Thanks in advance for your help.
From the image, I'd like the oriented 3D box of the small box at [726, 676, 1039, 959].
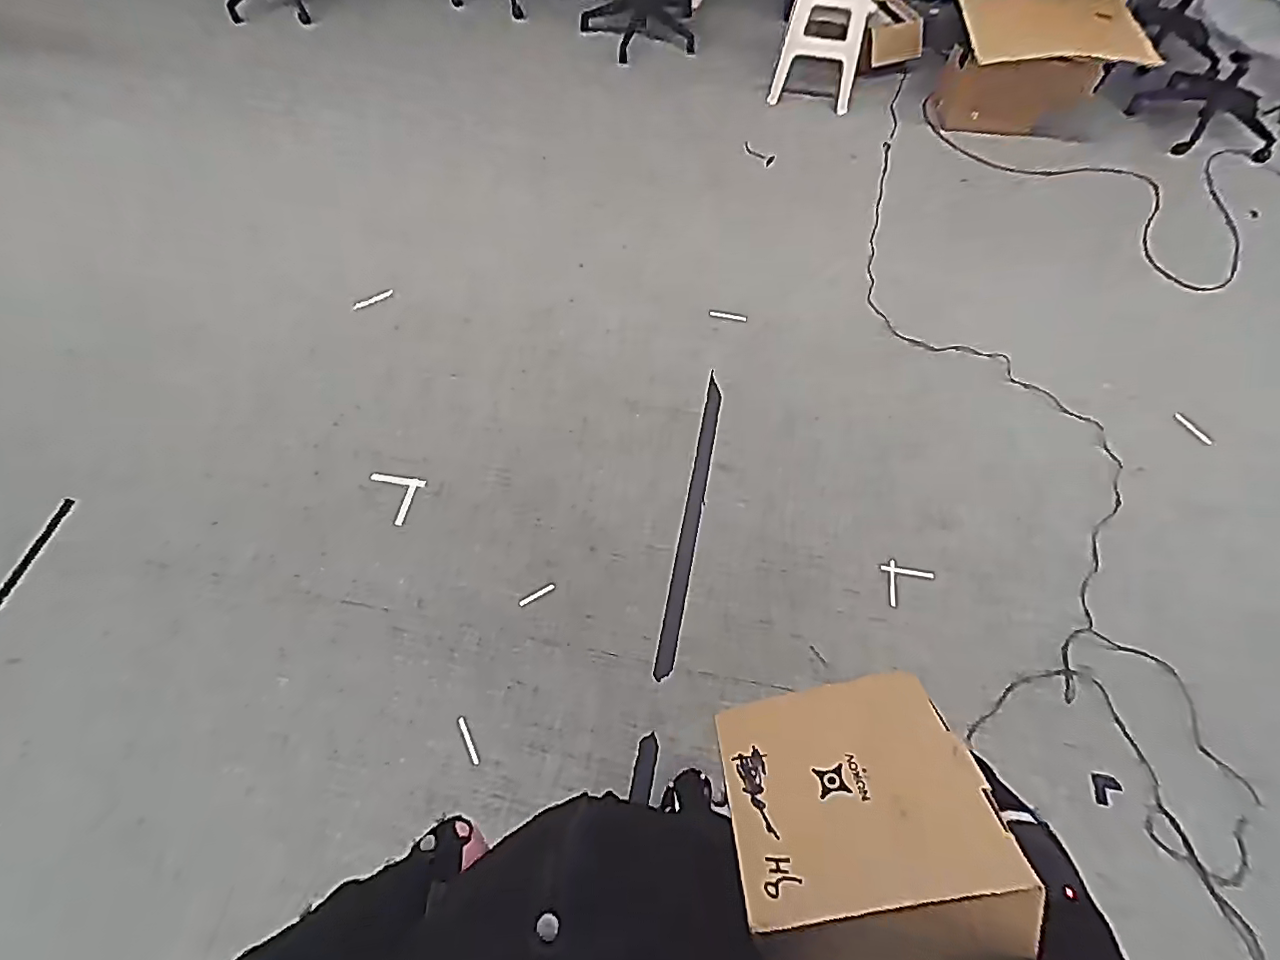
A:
[{"bbox_3d":[0.180,0.296,0.443,0.179,0.176,0.168,-14,26,7],"label":"small box"}]
